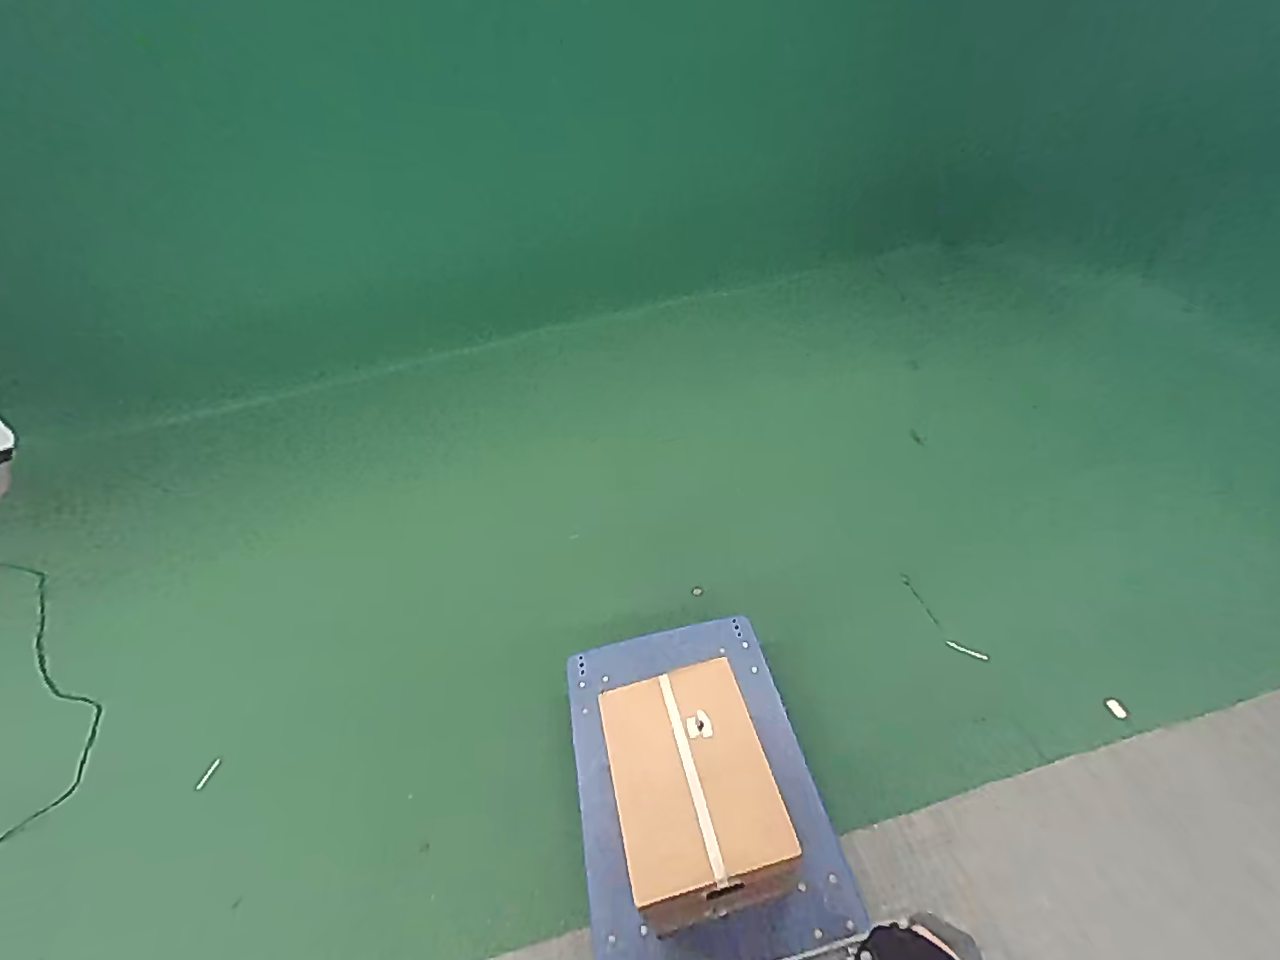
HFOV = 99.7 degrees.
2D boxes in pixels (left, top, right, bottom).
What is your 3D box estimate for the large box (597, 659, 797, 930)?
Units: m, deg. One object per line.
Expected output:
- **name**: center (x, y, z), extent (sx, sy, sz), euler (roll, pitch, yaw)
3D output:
- **large box**: center (0.117, 0.692, 1.209), extent (0.320, 0.320, 0.408), euler (-15, 43, -5)
